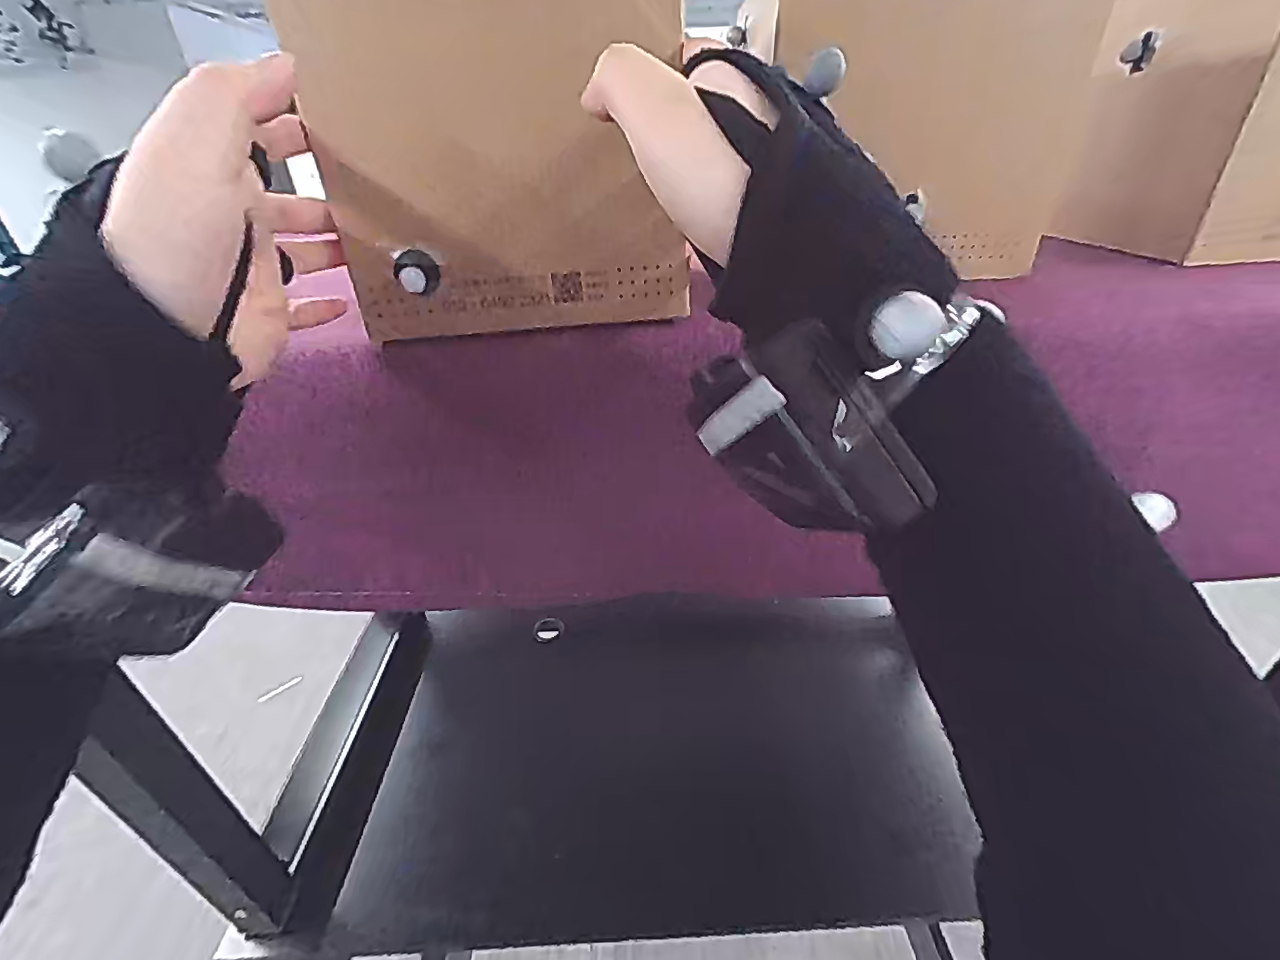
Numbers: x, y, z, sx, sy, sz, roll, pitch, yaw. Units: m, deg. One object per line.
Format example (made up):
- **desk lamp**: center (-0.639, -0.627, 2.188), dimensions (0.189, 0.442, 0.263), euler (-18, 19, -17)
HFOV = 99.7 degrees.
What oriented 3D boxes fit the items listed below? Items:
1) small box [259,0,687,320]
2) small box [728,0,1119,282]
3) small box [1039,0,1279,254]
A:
- **small box**: center (-0.066, -0.189, 0.302), dimensions (0.168, 0.176, 0.179), euler (-5, 29, -2)
- **small box**: center (0.160, -0.240, 0.372), dimensions (0.179, 0.176, 0.168), euler (-1, 31, 2)
- **small box**: center (0.429, -0.258, 0.377), dimensions (0.168, 0.176, 0.179), euler (-2, 31, 3)
